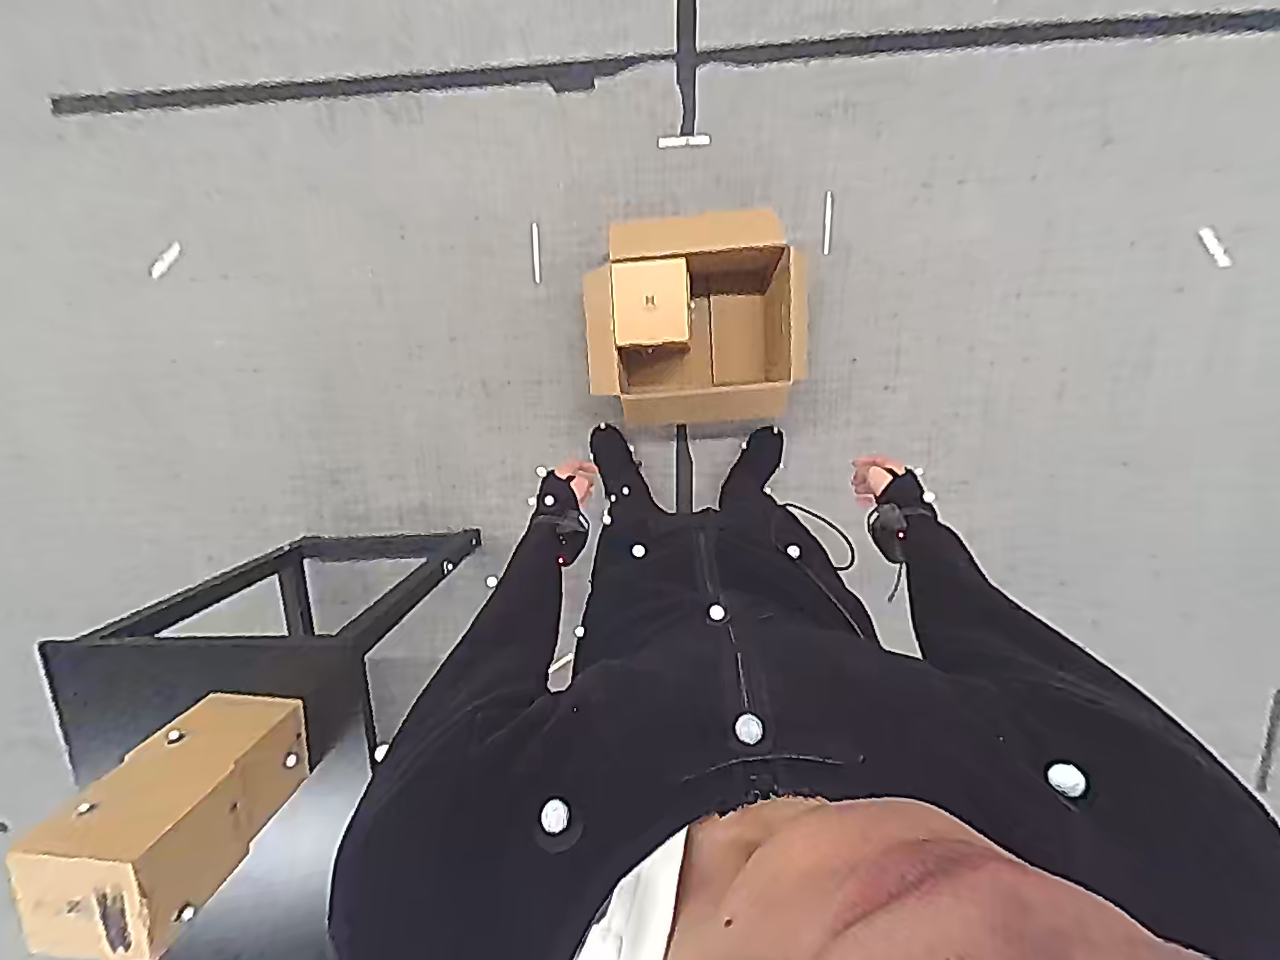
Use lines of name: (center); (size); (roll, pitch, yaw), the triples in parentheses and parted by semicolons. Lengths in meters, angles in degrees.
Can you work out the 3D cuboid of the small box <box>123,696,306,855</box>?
small box: (-0.713, 0.493, 0.925); (0.179, 0.176, 0.168); (4, 103, 2)
